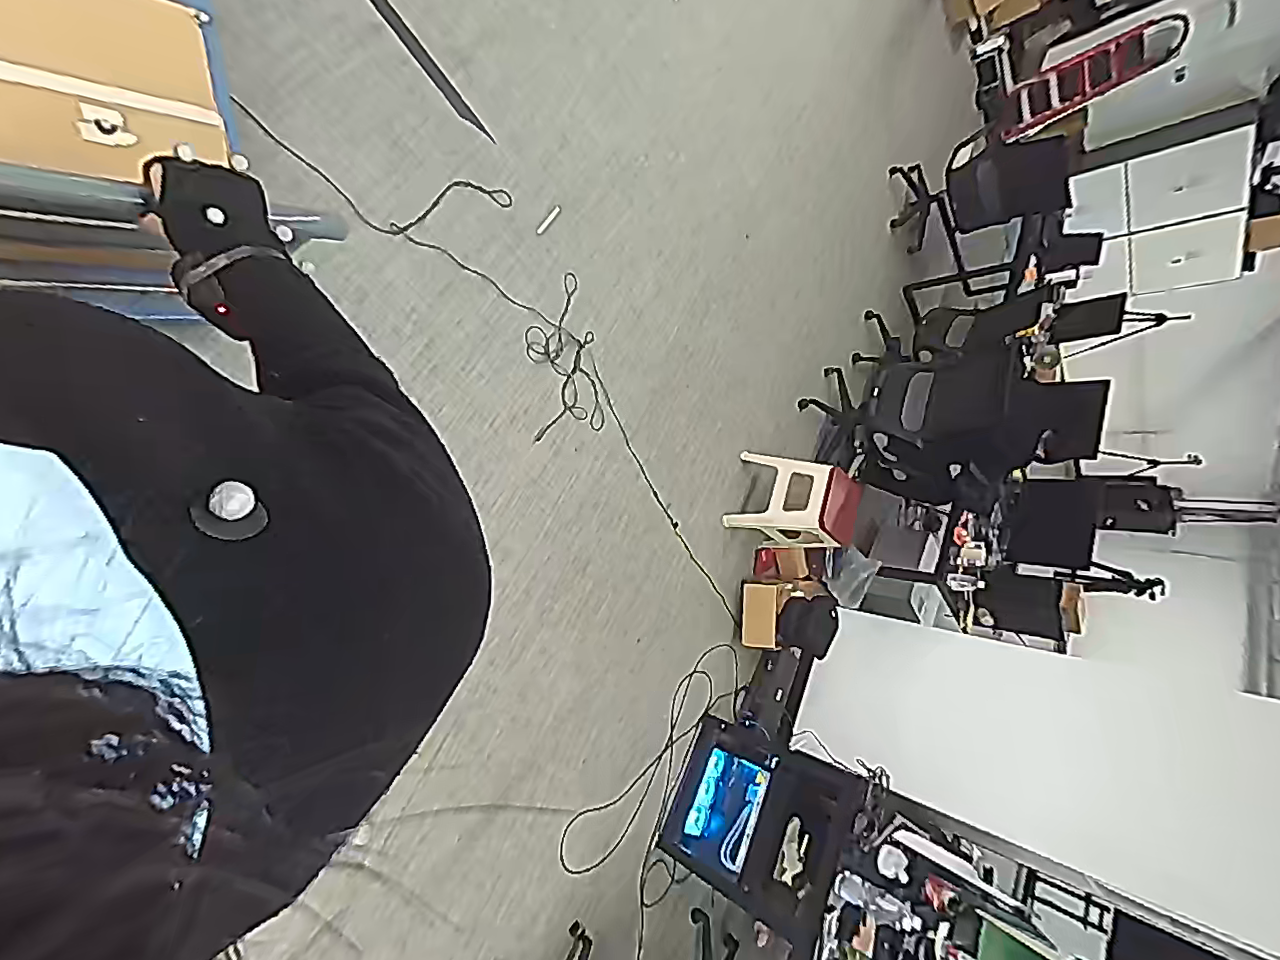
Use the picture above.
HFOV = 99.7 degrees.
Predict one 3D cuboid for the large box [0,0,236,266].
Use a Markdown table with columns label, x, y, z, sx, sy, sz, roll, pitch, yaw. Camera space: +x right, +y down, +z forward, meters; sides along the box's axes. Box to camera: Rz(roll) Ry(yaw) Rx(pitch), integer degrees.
| label | x | y | z | sx | sy | sz | roll | pitch | yaw |
| --- | --- | --- | --- | --- | --- | --- | --- | --- | --- |
| large box | -0.902 | -0.526 | 0.800 | 0.408 | 0.320 | 0.320 | -15 | 103 | -45 |
